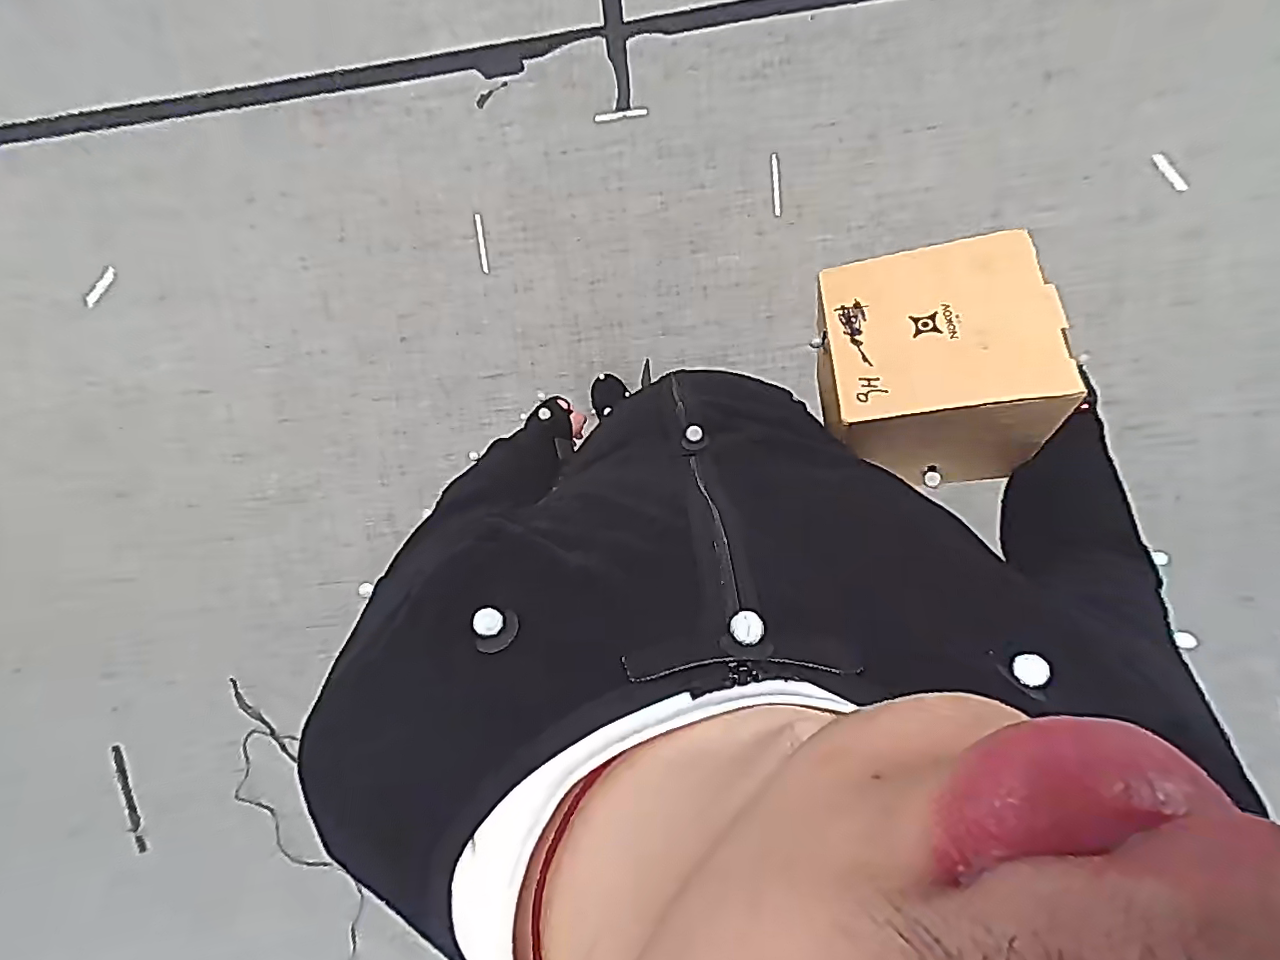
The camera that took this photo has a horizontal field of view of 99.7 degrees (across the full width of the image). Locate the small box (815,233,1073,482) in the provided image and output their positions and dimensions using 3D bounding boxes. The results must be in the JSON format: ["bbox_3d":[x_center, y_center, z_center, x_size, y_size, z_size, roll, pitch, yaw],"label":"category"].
[{"bbox_3d":[0.277,-0.108,0.542,0.179,0.176,0.168,-6,66,15],"label":"small box"}]
